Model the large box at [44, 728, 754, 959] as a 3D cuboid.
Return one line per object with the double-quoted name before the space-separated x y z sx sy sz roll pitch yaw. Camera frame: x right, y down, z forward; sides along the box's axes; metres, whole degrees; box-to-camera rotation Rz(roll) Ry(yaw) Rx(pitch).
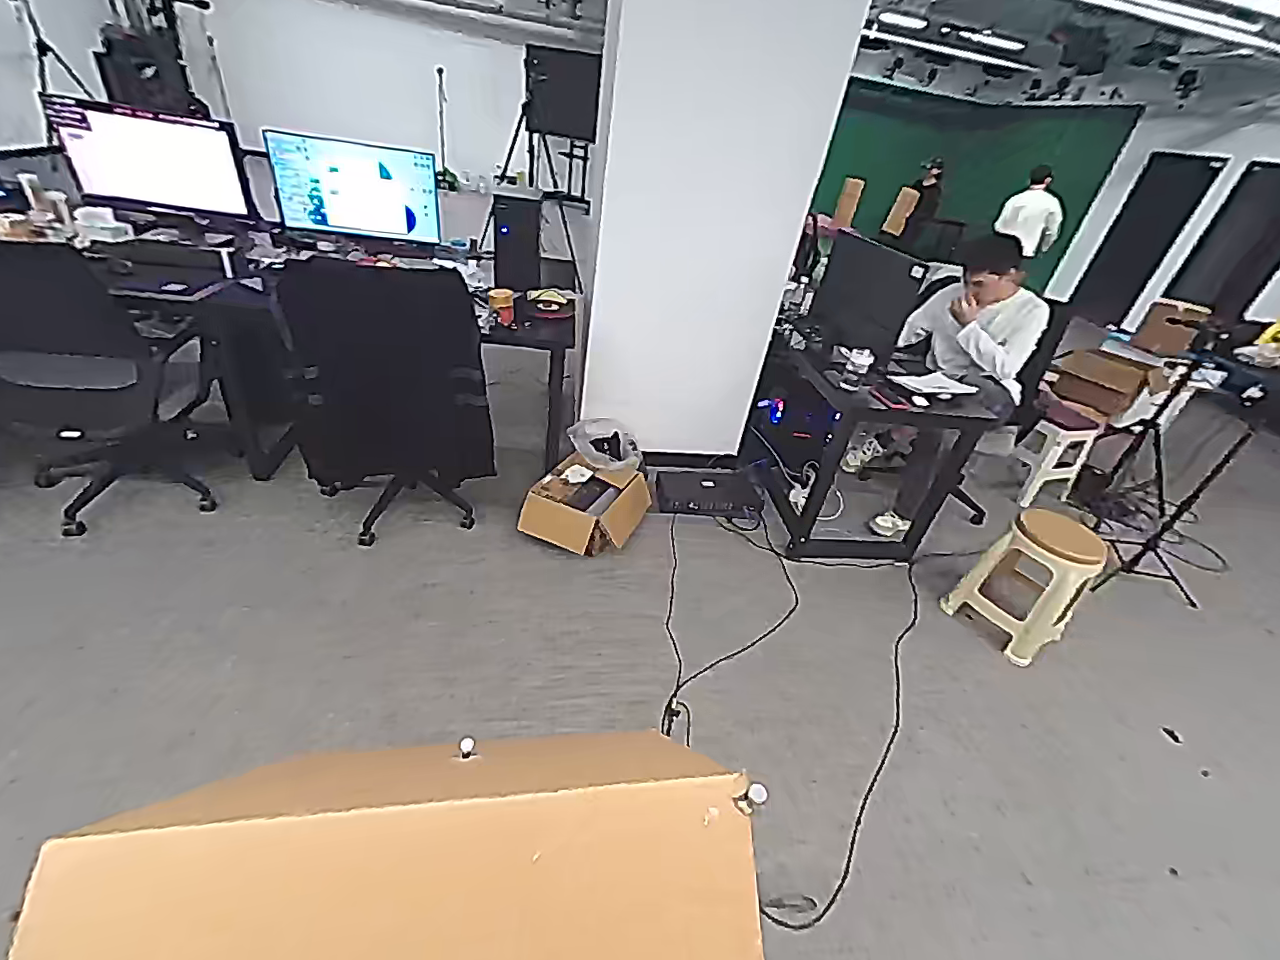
"large box" -0.148 0.398 0.435 0.408 0.320 0.320 0 73 -12
